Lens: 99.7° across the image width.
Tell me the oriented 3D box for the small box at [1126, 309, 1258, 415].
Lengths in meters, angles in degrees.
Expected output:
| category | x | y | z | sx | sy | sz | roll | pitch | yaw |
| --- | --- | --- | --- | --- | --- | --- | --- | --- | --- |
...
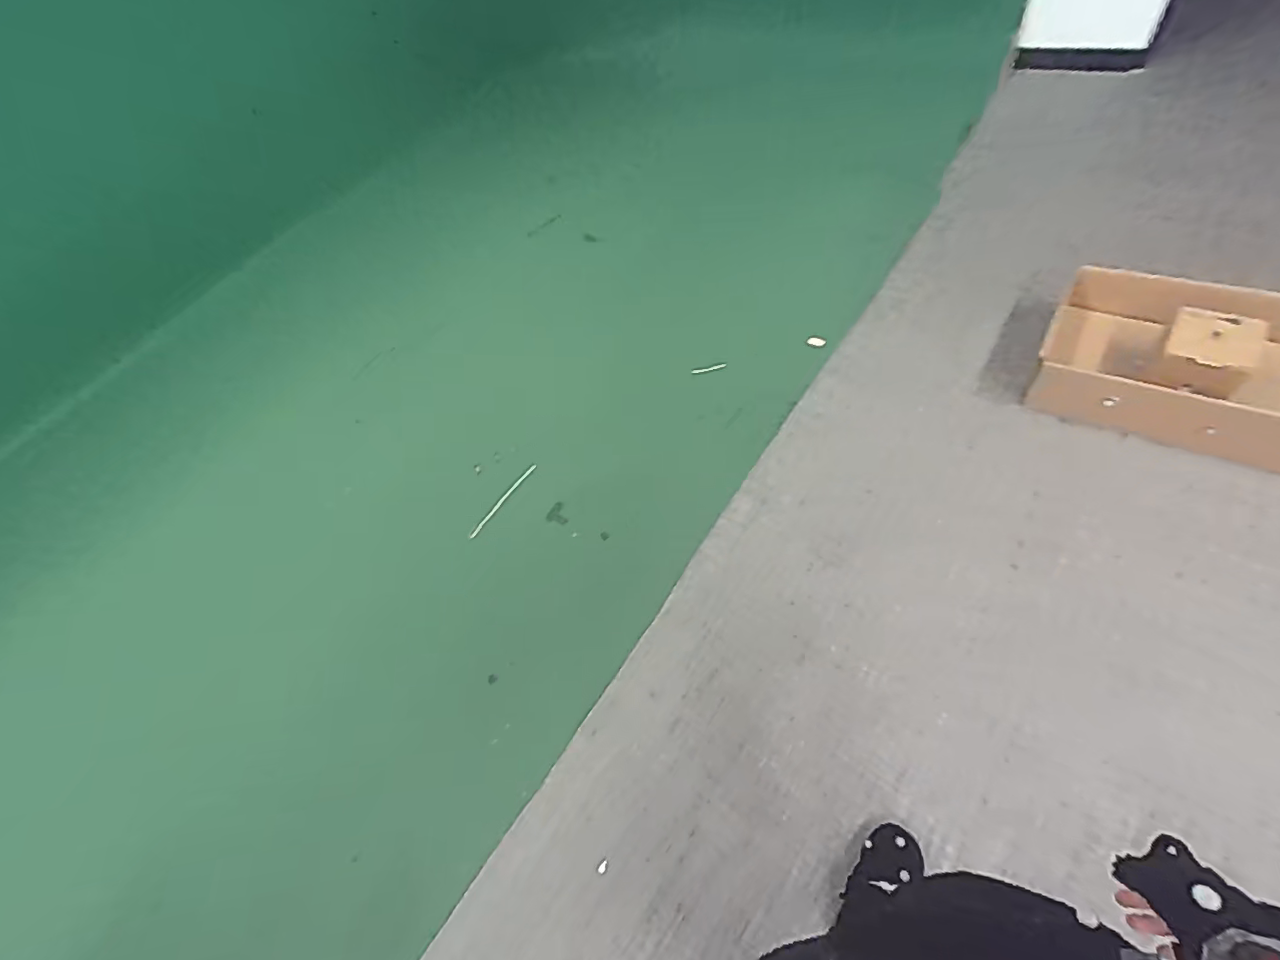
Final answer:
| category | x | y | z | sx | sy | sz | roll | pitch | yaw |
| --- | --- | --- | --- | --- | --- | --- | --- | --- | --- |
| small box | 1.377 | -0.294 | 1.362 | 0.168 | 0.176 | 0.179 | 27 | 69 | 28 |
